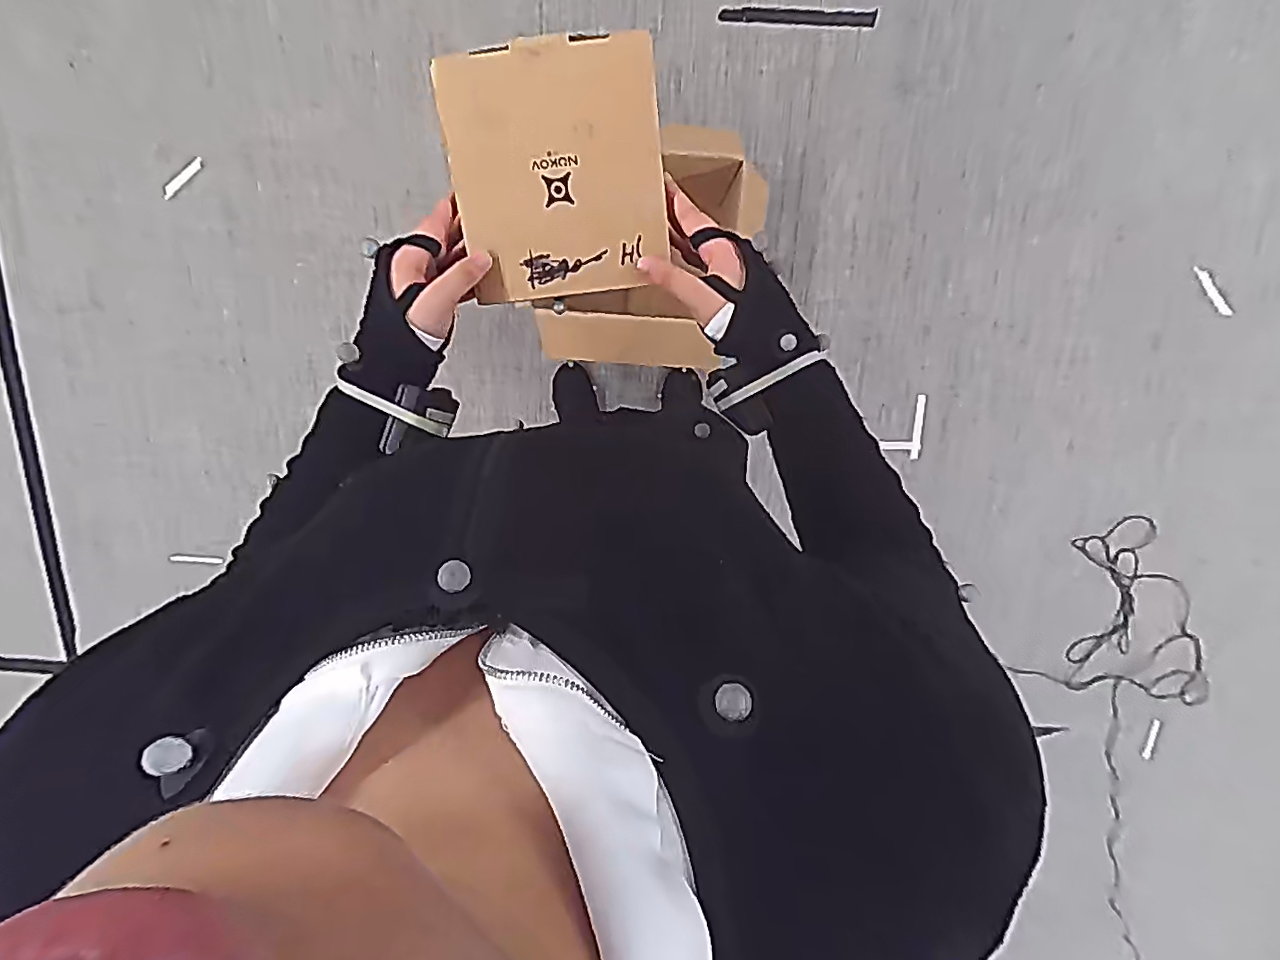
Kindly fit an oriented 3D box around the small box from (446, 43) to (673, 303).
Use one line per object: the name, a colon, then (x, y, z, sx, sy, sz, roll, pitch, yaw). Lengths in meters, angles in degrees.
small box: (-0.060, -0.265, 0.508, 0.168, 0.176, 0.179, -5, 110, 2)
